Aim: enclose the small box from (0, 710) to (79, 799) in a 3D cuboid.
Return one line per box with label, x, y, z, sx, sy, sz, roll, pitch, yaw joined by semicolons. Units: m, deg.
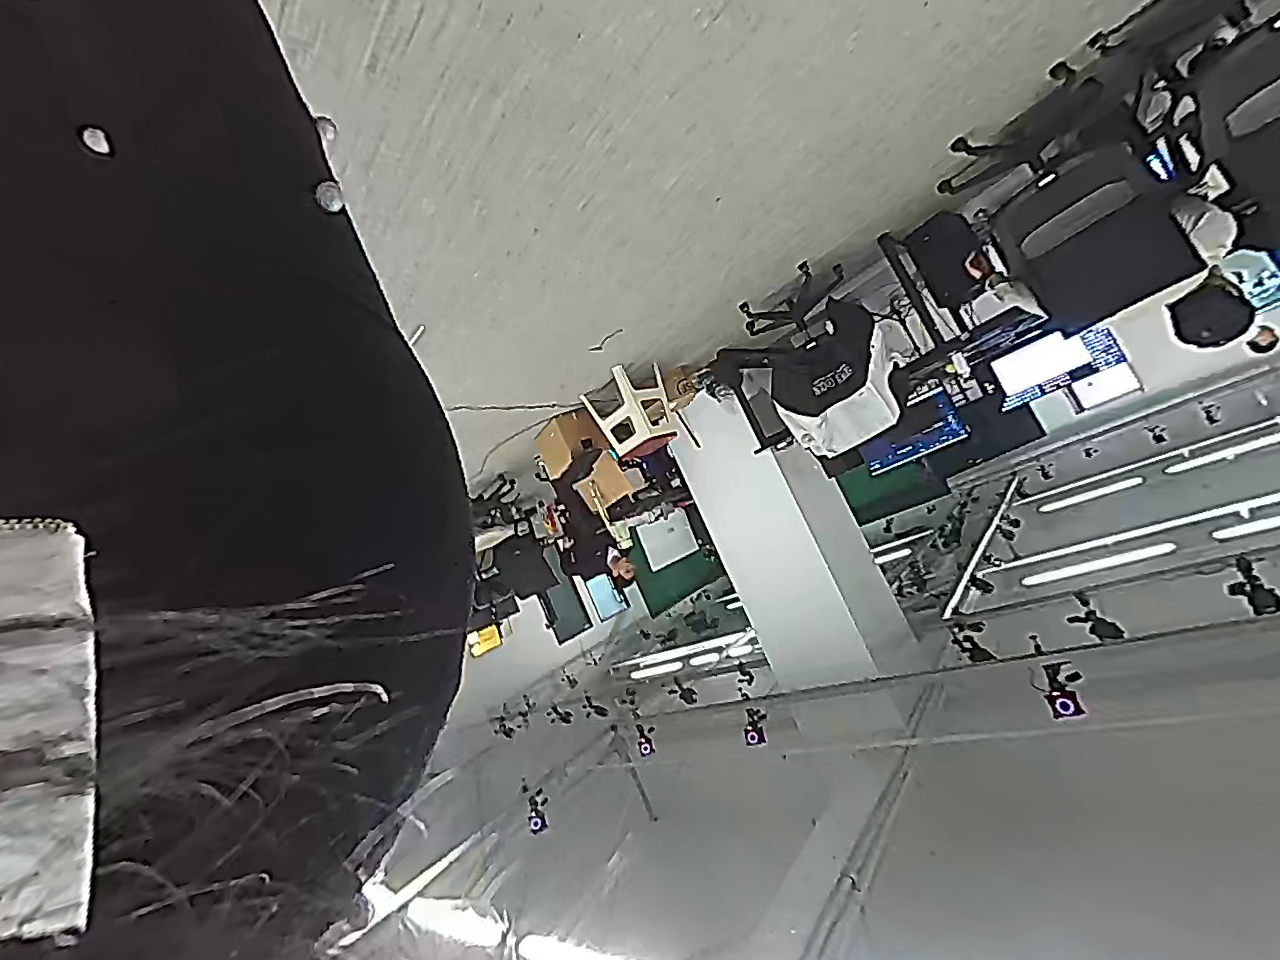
small box;-1.769;0.794;1.563;0.168;0.176;0.179;-30;171;41
